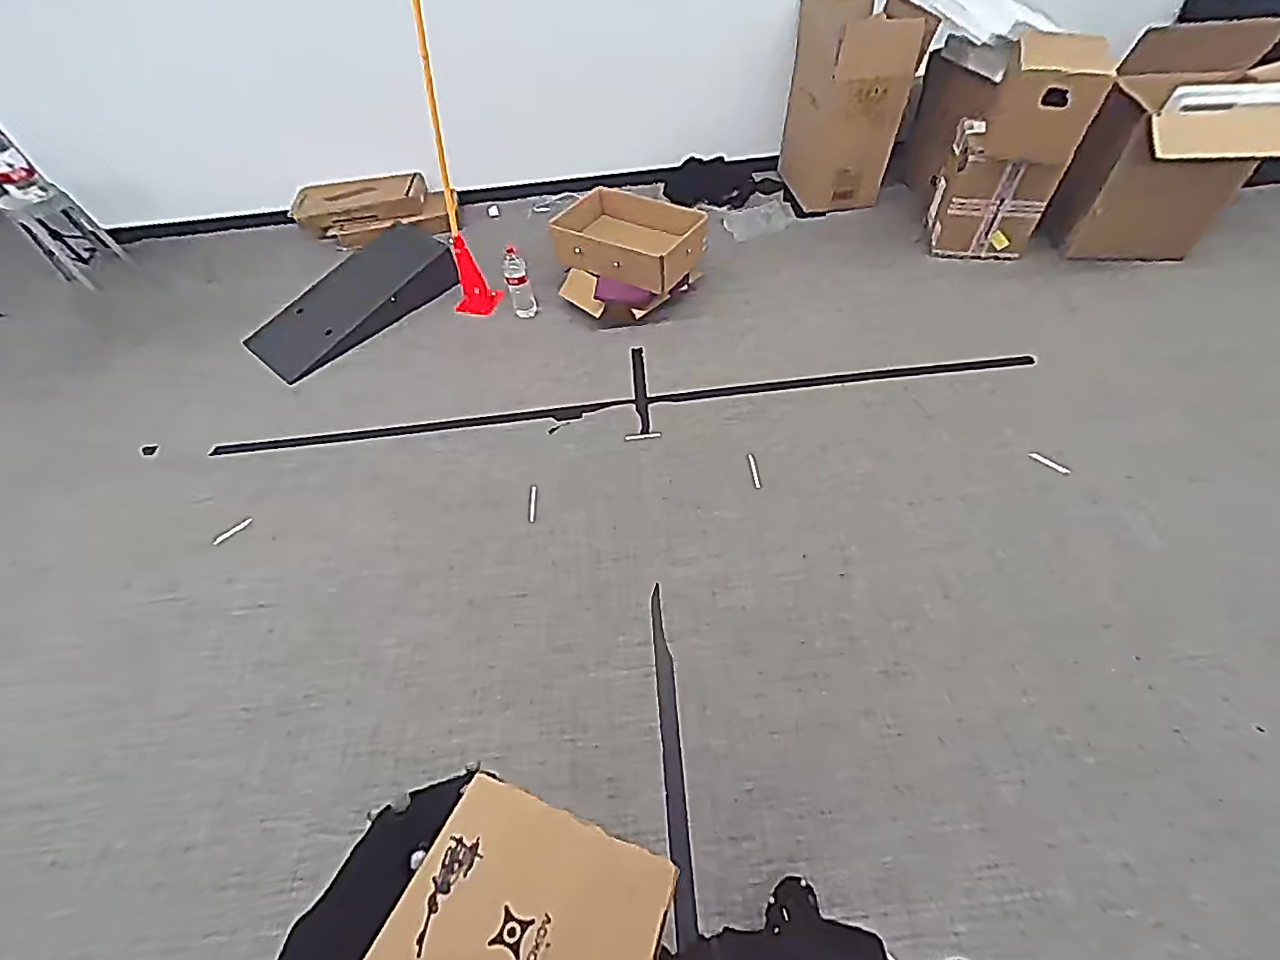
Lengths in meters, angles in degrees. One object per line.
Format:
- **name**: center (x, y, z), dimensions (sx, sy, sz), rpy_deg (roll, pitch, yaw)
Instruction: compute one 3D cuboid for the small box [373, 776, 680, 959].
- **small box**: center (-0.090, 0.374, 0.411), dimensions (0.179, 0.176, 0.168), rpy_deg (20, 35, 10)
